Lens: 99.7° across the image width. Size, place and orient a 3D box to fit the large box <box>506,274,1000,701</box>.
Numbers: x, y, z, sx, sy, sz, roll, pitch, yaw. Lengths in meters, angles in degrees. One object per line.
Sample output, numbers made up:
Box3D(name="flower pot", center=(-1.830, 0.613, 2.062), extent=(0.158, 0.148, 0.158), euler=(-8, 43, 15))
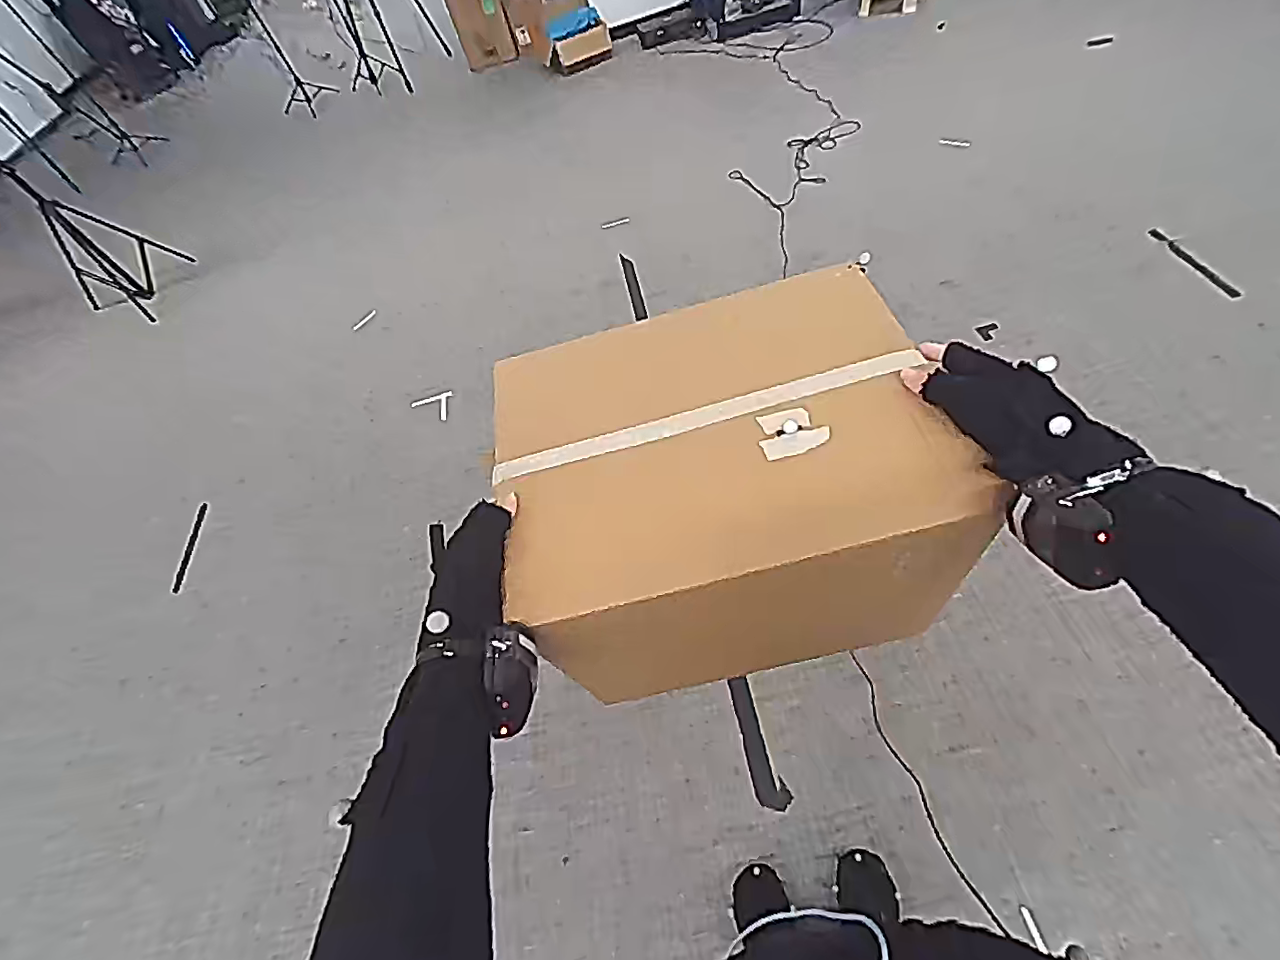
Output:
Box3D(name="large box", center=(0.093, 0.028, 0.637), extent=(0.408, 0.320, 0.320), euler=(-15, 56, 3))
